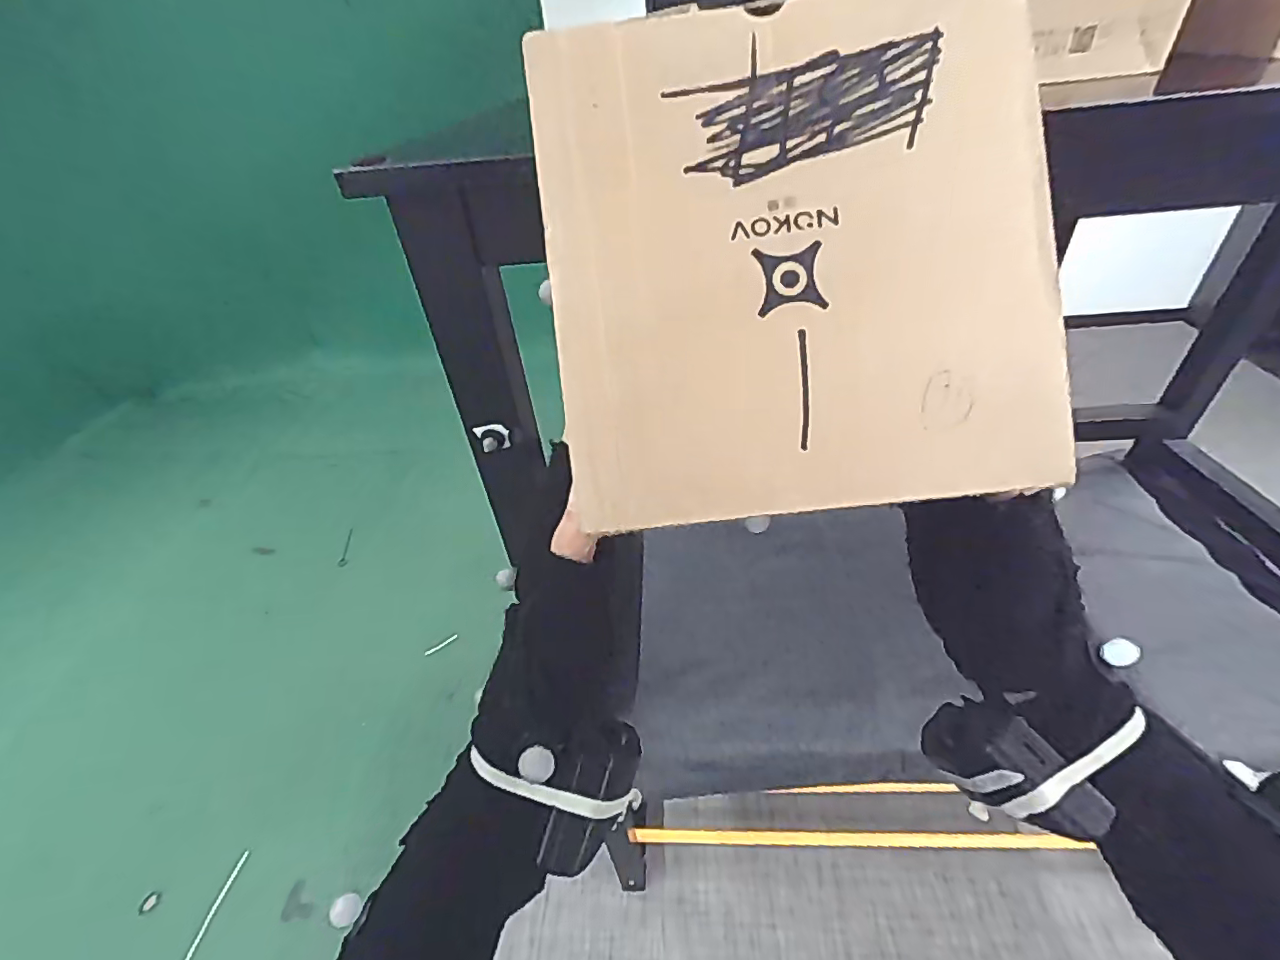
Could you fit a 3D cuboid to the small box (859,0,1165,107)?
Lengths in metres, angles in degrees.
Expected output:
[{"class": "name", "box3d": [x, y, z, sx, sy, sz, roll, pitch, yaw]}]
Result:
[{"class": "small box", "box3d": [0.276, -0.390, 0.413, 0.168, 0.176, 0.179, -2, 38, 5]}]
